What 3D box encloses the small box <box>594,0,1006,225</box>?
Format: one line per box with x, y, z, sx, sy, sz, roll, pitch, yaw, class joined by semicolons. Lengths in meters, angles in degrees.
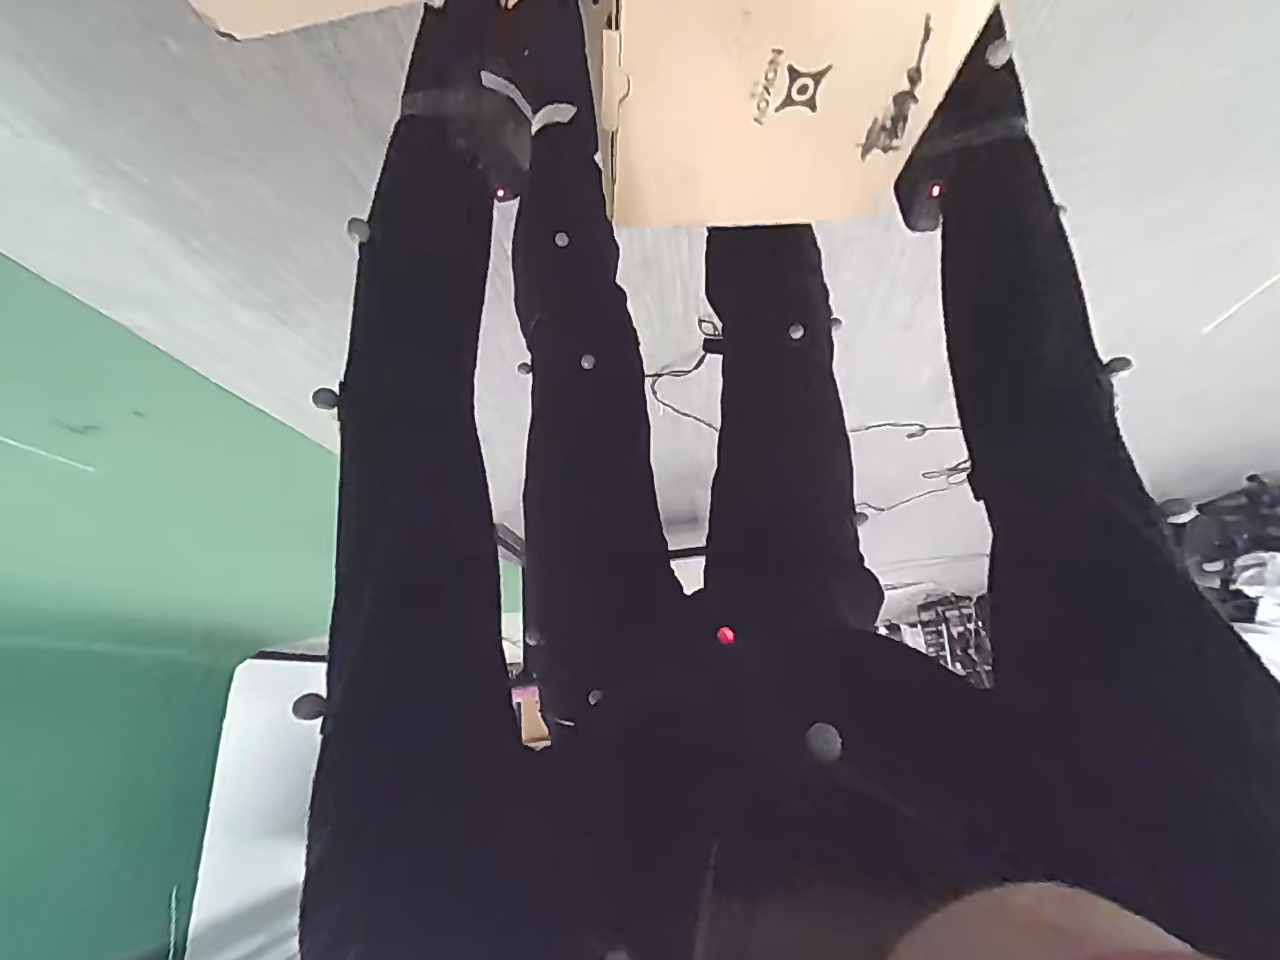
0.066;-0.268;0.293;0.179;0.176;0.168;-4;158;-7;small box

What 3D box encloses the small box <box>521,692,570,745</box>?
-0.375;0.945;2.151;0.168;0.176;0.179;-6;158;-3;small box
